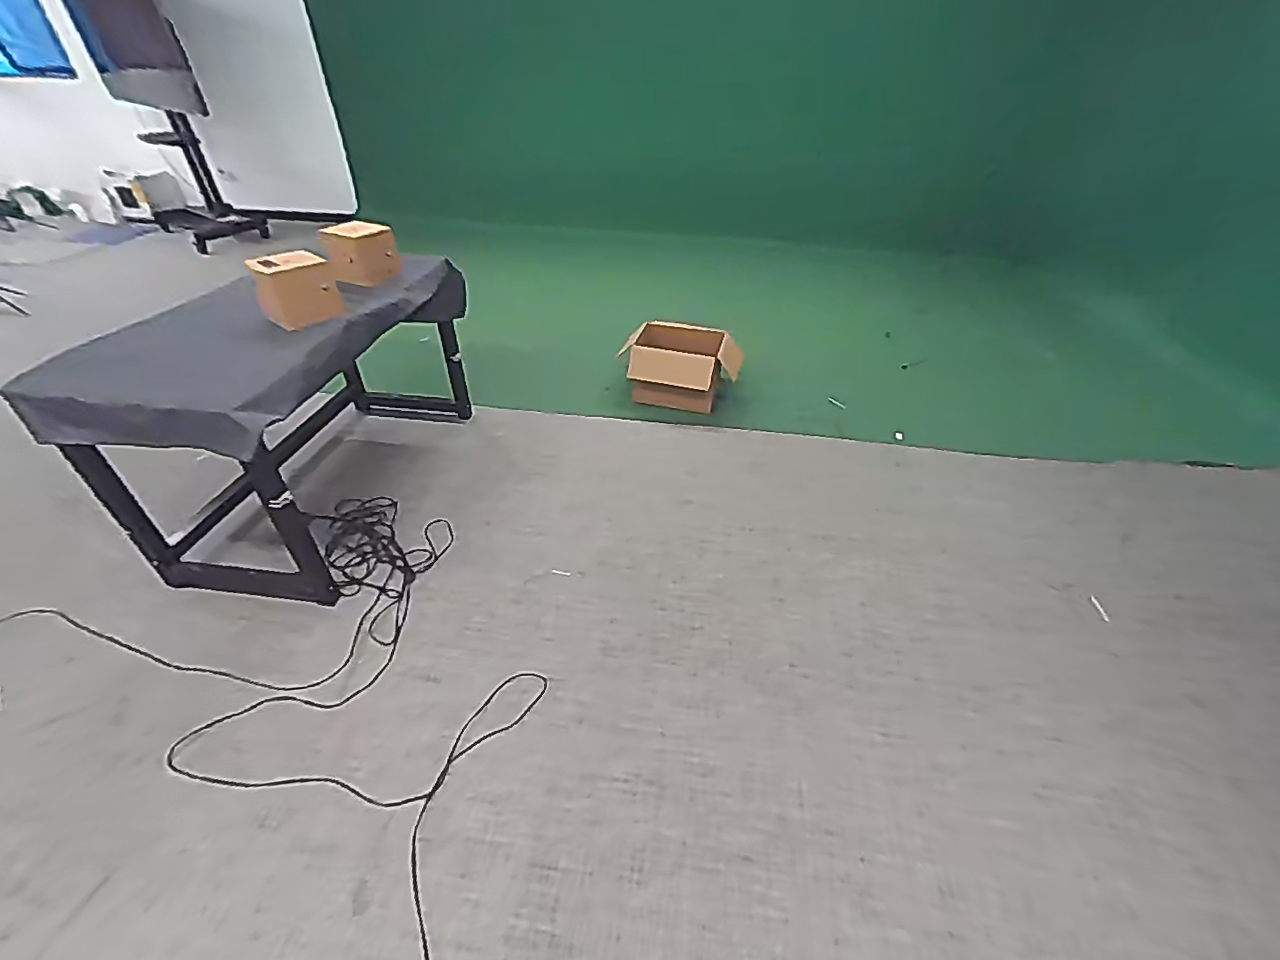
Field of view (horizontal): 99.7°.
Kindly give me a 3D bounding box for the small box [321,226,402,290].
[{"bbox_3d":[-0.988,-0.792,1.933,0.179,0.176,0.168,17,40,21],"label":"small box"}]
